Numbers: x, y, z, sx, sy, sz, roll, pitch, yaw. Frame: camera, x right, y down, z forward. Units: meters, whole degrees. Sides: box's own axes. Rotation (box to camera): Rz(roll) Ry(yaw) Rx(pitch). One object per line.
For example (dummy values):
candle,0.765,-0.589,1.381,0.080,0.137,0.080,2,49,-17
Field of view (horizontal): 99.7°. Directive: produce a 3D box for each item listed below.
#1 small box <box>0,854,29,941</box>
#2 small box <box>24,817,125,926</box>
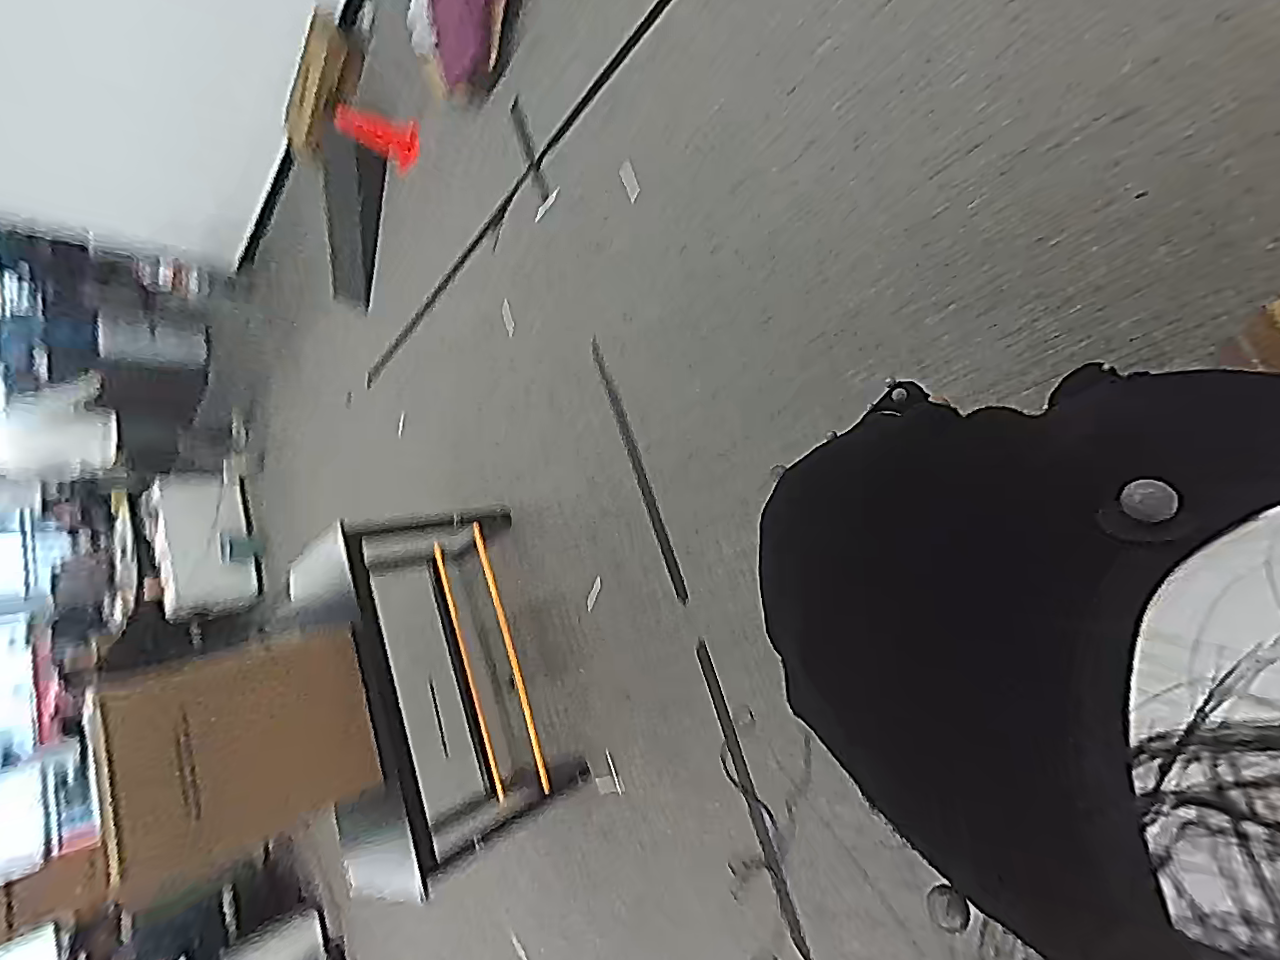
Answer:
small box,-1.544,0.998,1.252,0.179,0.176,0.168,-32,72,37
small box,-1.448,0.995,1.386,0.179,0.176,0.168,-34,72,36
